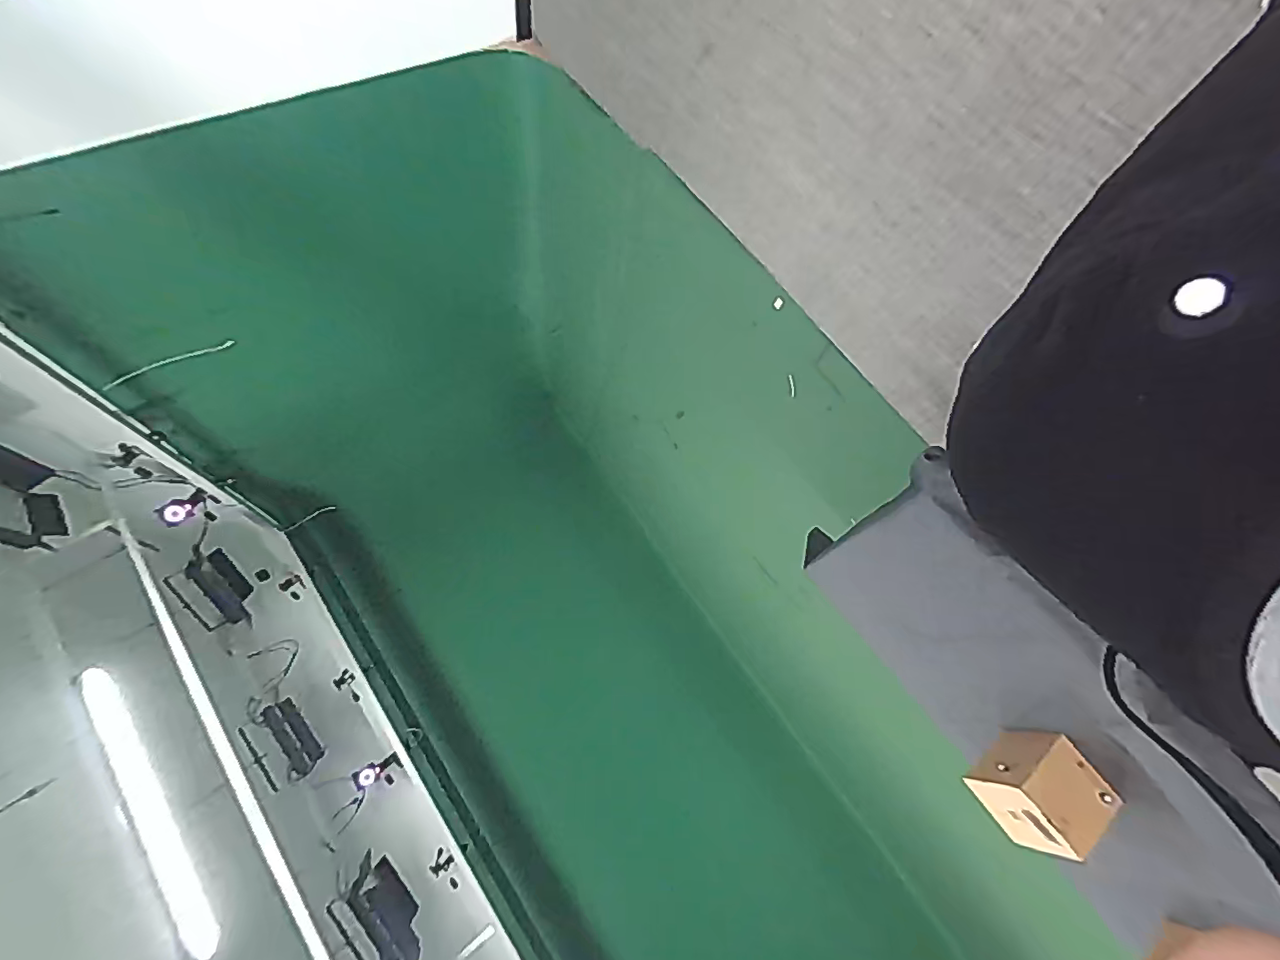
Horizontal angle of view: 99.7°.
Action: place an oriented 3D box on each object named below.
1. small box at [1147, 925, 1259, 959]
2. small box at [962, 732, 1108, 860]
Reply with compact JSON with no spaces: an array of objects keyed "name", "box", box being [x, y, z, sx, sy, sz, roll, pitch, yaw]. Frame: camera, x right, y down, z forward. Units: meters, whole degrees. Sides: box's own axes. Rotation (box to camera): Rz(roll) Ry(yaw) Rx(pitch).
[{"name":"small box","box":[1.150,1.040,1.070,0.168,0.176,0.179,53,158,15]},{"name":"small box","box":[0.868,0.677,1.185,0.168,0.176,0.179,52,160,13]}]
